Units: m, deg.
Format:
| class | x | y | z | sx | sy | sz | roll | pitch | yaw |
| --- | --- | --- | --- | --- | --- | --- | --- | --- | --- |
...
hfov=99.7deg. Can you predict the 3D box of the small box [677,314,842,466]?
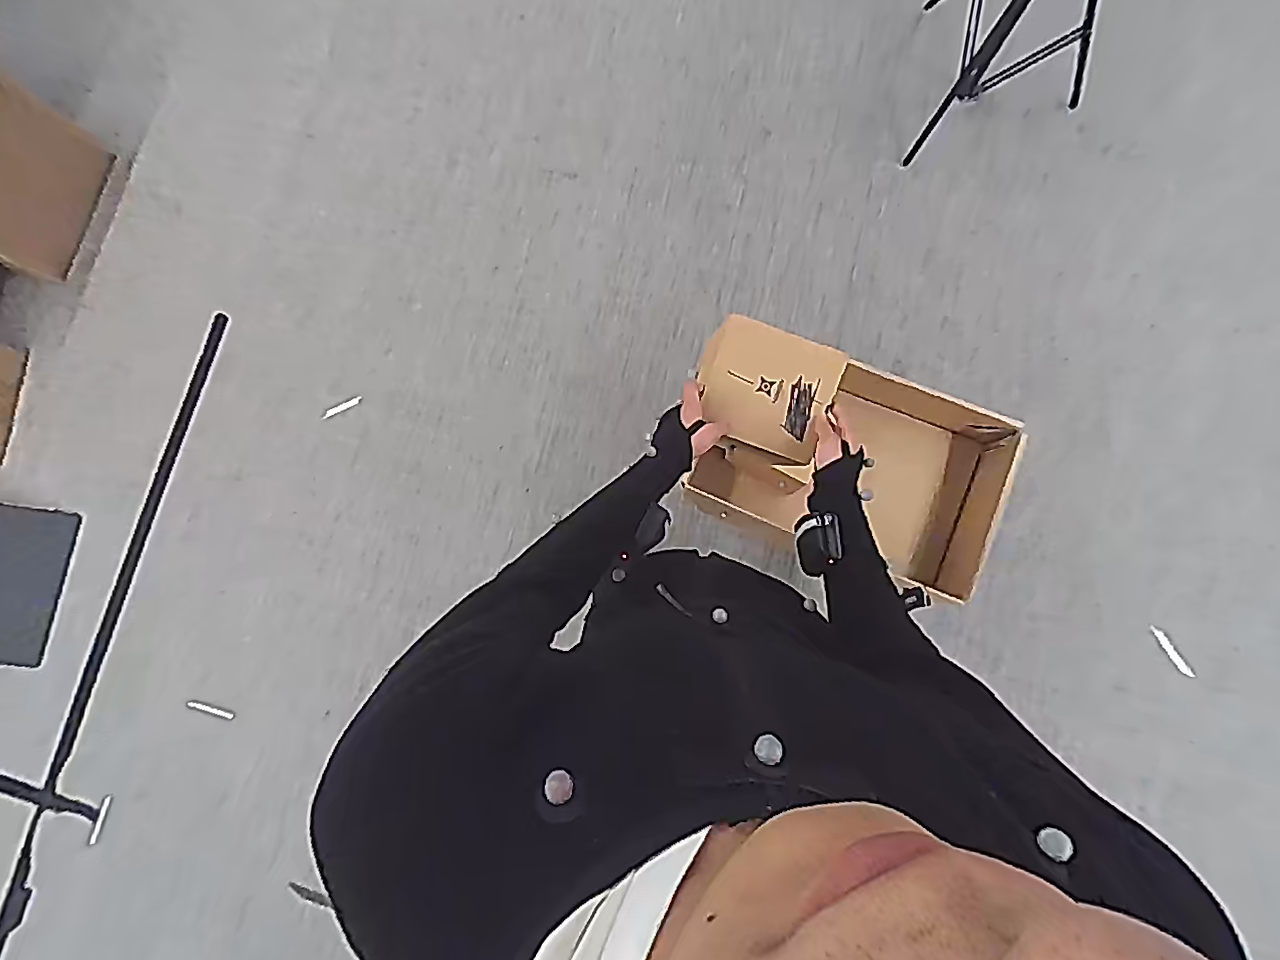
| class | x | y | z | sx | sy | sz | roll | pitch | yaw |
| --- | --- | --- | --- | --- | --- | --- | --- | --- | --- |
| small box | 0.170 | -0.128 | 0.828 | 0.179 | 0.176 | 0.168 | 19 | 90 | -4 |
